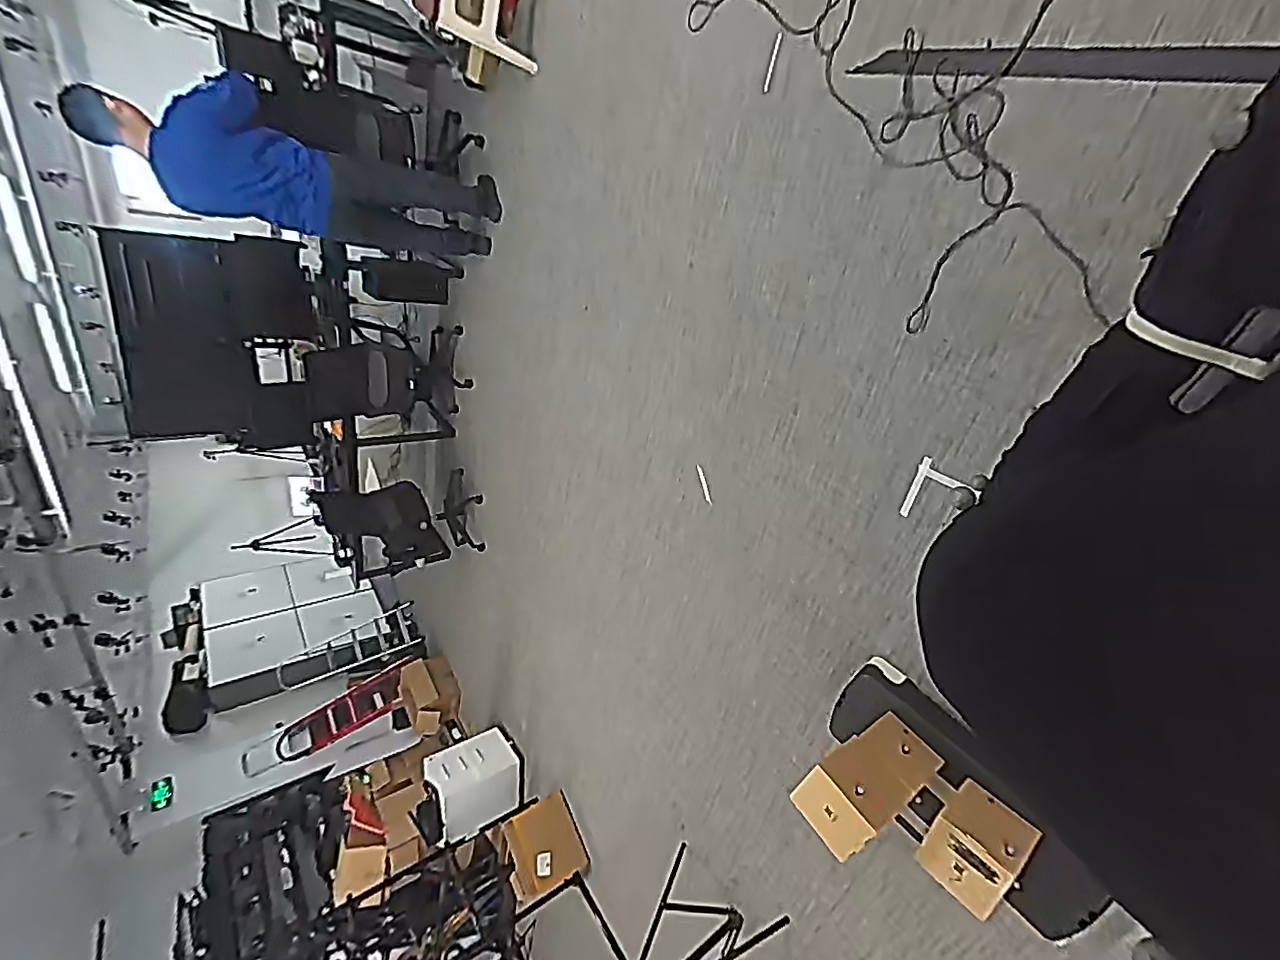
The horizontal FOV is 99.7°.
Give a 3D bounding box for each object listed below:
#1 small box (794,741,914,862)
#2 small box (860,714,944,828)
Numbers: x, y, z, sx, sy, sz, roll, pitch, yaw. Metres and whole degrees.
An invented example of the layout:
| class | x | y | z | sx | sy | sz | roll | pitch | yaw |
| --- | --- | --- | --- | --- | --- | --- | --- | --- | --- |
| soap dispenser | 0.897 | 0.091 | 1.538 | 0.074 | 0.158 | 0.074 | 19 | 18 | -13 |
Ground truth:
| class | x | y | z | sx | sy | sz | roll | pitch | yaw |
| --- | --- | --- | --- | --- | --- | --- | --- | --- | --- |
| small box | 0.519 | 0.768 | 1.315 | 0.179 | 0.176 | 0.168 | 46 | 131 | 35 |
| small box | 0.653 | 0.749 | 1.406 | 0.168 | 0.176 | 0.179 | 44 | 131 | 38 |
